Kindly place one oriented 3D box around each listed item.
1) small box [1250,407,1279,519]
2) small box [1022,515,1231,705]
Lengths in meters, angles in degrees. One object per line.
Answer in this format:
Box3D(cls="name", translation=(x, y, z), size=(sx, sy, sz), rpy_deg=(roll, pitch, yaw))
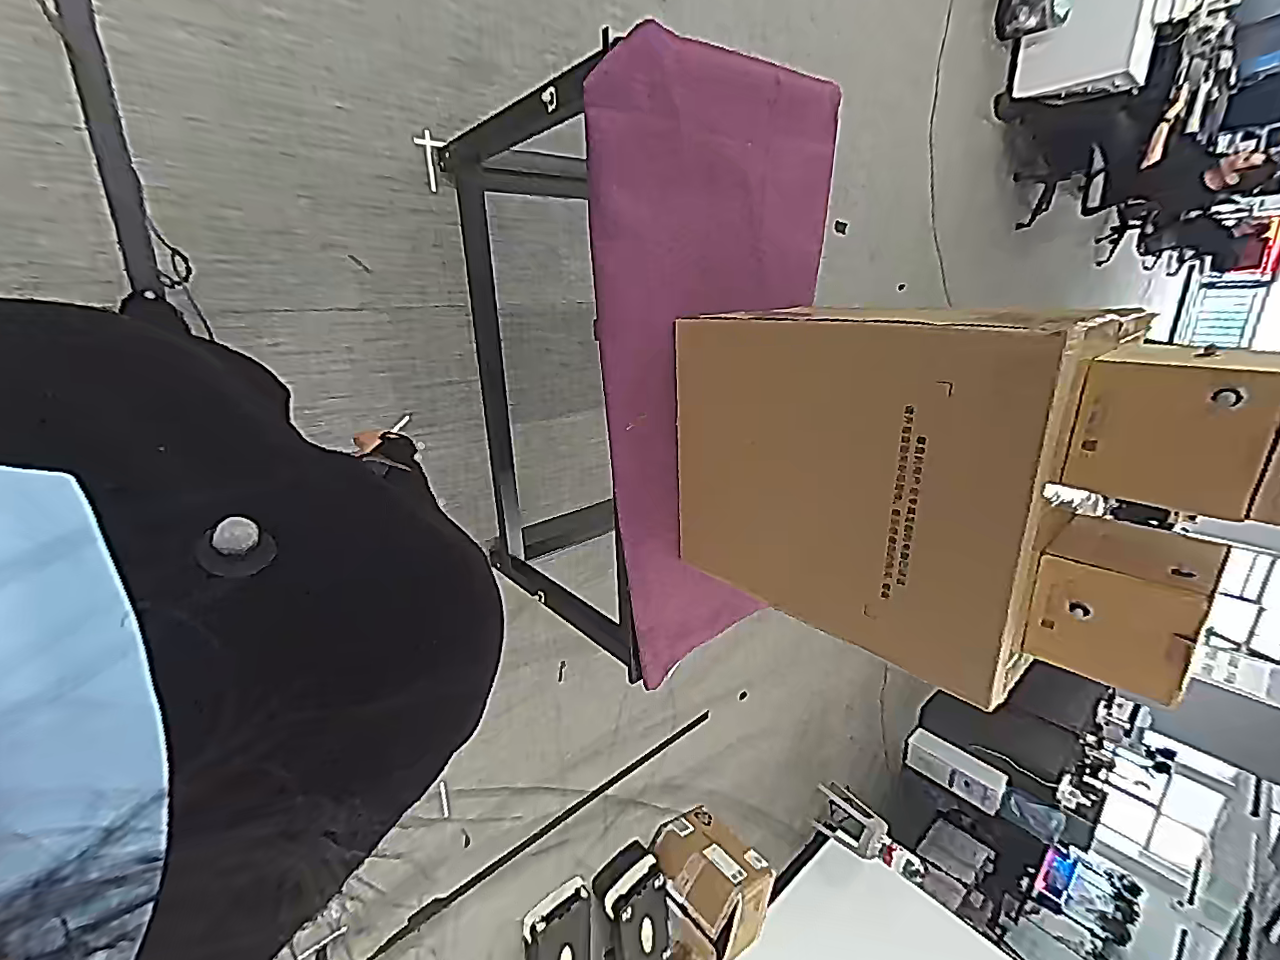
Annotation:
Box3D(cls="small box", translation=(0.766, -0.040, 0.546), size=(0.179, 0.176, 0.168), rpy_deg=(-22, 119, -36))
Box3D(cls="small box", translation=(0.667, 0.163, 0.751), size=(0.179, 0.176, 0.168), rpy_deg=(-20, 115, -35))
